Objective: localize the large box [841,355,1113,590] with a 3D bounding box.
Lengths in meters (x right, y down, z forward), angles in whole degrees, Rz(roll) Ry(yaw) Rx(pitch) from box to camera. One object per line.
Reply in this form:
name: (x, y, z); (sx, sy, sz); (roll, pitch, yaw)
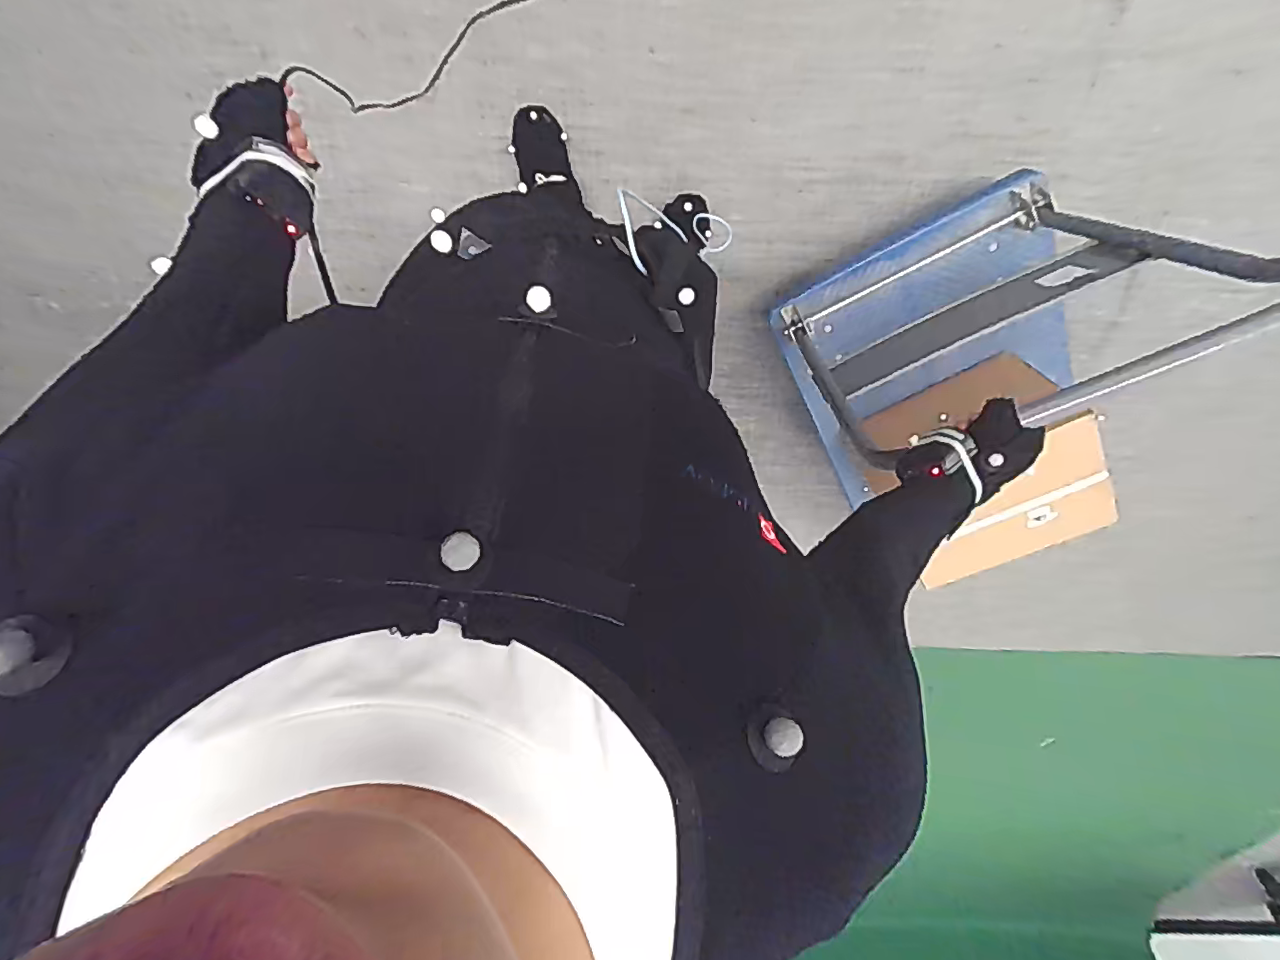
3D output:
large box: (0.753, -0.018, 1.258); (0.408, 0.320, 0.320); (-29, 120, 19)
